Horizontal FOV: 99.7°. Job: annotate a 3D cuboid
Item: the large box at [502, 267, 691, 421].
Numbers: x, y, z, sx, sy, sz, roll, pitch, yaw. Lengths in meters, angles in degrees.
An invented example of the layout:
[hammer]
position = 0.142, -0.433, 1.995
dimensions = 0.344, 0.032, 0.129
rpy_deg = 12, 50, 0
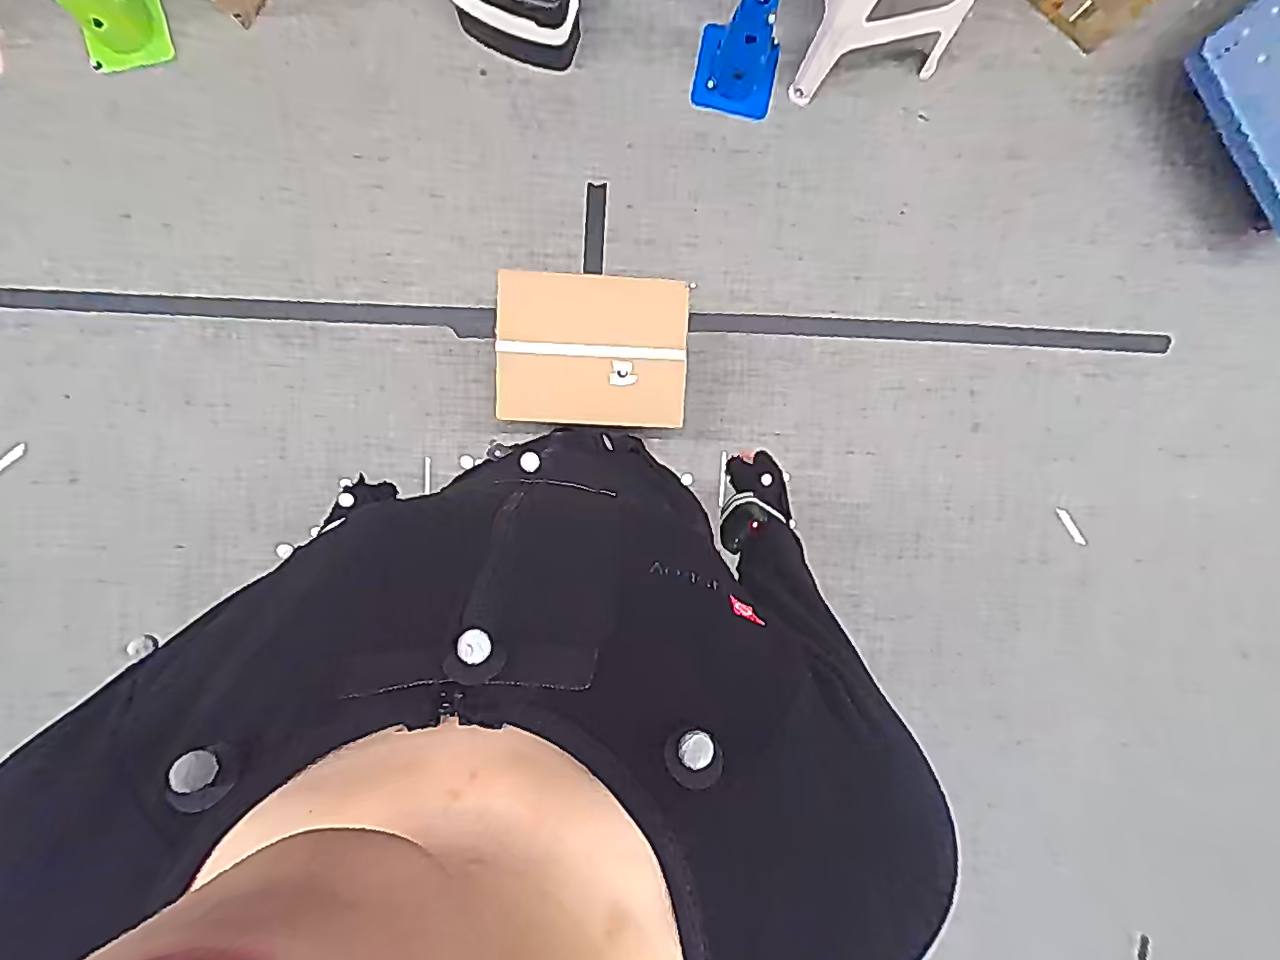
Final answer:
[large box]
position = -0.104, -0.301, 1.296
dimensions = 0.408, 0.320, 0.320
rpy_deg = 2, 97, -4
